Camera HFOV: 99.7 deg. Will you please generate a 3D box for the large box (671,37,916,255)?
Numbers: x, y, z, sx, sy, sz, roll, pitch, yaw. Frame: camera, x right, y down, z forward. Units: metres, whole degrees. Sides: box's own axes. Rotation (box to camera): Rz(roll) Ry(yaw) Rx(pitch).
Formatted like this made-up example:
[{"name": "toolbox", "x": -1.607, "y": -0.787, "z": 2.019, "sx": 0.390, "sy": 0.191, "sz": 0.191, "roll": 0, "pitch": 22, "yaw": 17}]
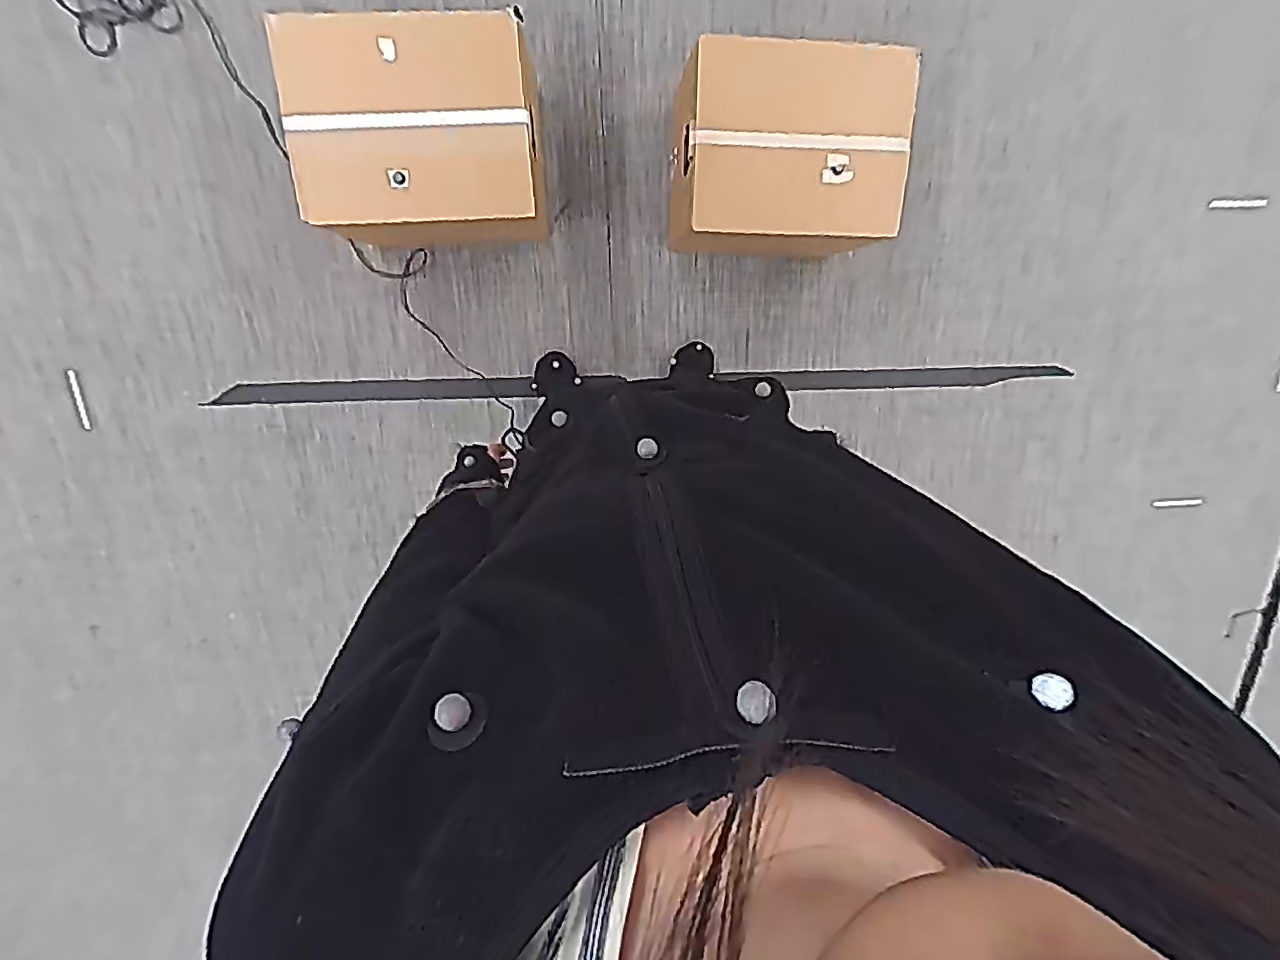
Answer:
[{"name": "large box", "x": 0.284, "y": -0.660, "z": 1.133, "sx": 0.408, "sy": 0.320, "sz": 0.320, "roll": 0, "pitch": 106, "yaw": -6}]
